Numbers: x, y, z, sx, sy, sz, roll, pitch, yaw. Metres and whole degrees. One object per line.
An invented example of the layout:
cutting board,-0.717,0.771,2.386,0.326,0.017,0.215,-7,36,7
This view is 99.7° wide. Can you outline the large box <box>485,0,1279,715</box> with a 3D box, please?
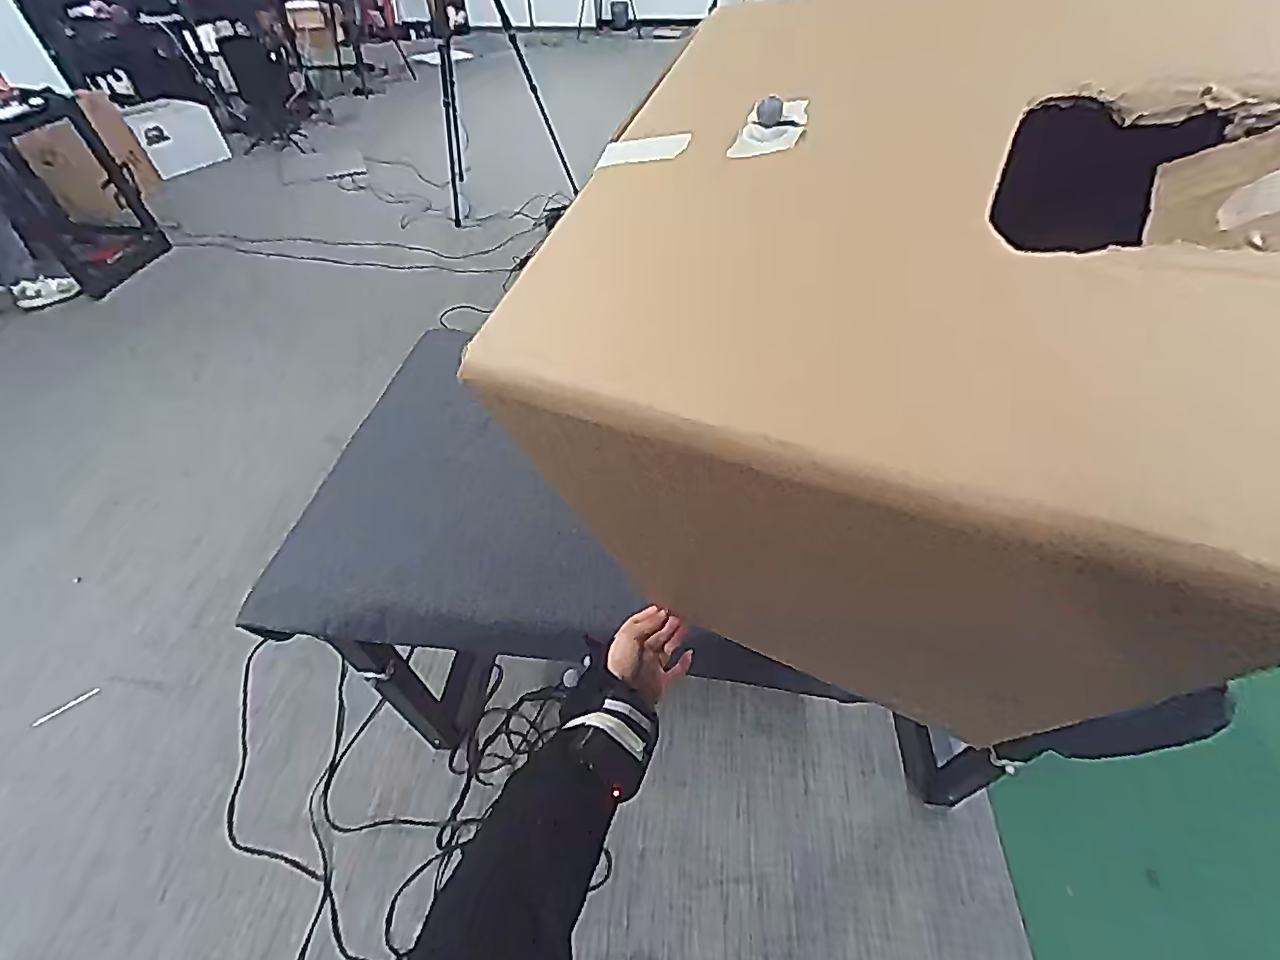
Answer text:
large box,0.159,-0.048,0.419,0.320,0.408,0.320,18,69,24
